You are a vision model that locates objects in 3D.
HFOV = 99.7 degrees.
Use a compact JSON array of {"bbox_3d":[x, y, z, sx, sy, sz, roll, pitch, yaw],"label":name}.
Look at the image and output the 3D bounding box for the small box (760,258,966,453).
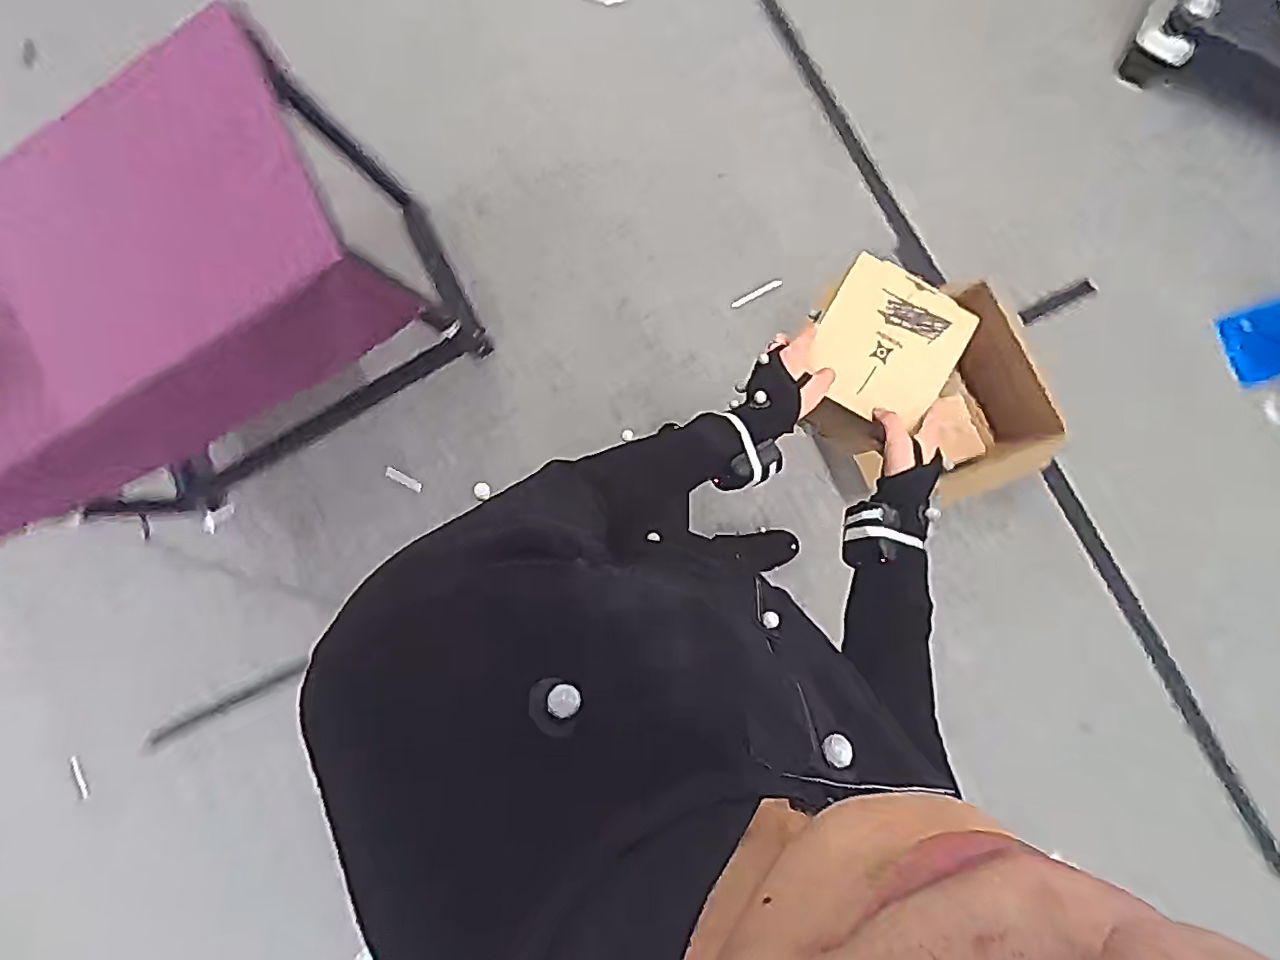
[{"bbox_3d":[0.283,-0.152,0.728,0.168,0.176,0.179,28,87,0],"label":"small box"}]
